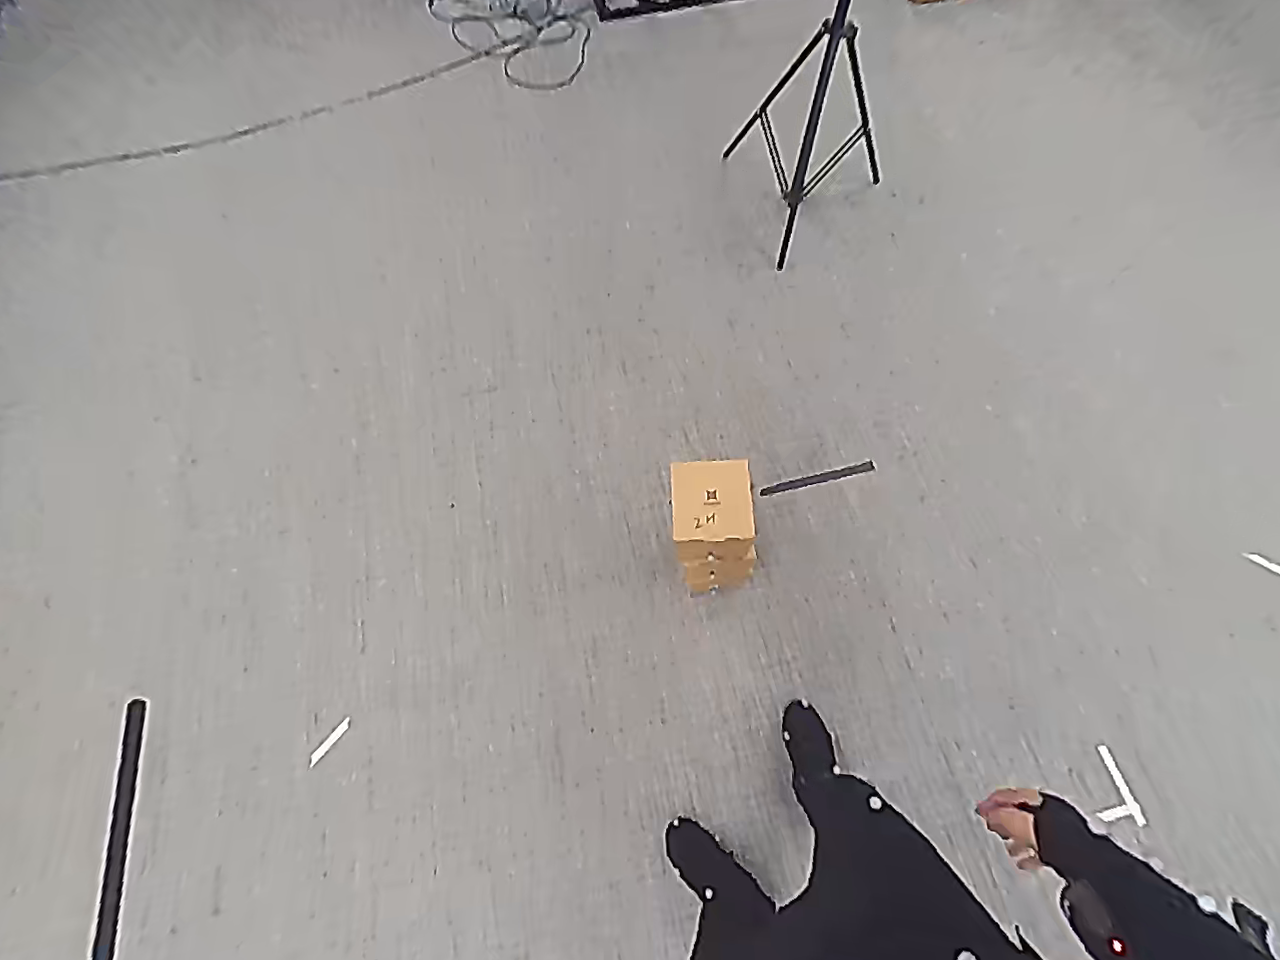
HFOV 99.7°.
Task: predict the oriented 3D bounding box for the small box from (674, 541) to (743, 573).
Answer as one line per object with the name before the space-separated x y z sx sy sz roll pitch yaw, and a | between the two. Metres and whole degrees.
small box | 0.168 0.136 1.449 0.168 0.176 0.179 -10 68 -1

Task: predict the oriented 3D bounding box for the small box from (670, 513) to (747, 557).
small box | 0.150 0.074 1.301 0.168 0.176 0.179 -8 69 0

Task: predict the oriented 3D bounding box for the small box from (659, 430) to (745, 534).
small box | 0.125 0.008 1.151 0.168 0.176 0.179 -2 69 2
